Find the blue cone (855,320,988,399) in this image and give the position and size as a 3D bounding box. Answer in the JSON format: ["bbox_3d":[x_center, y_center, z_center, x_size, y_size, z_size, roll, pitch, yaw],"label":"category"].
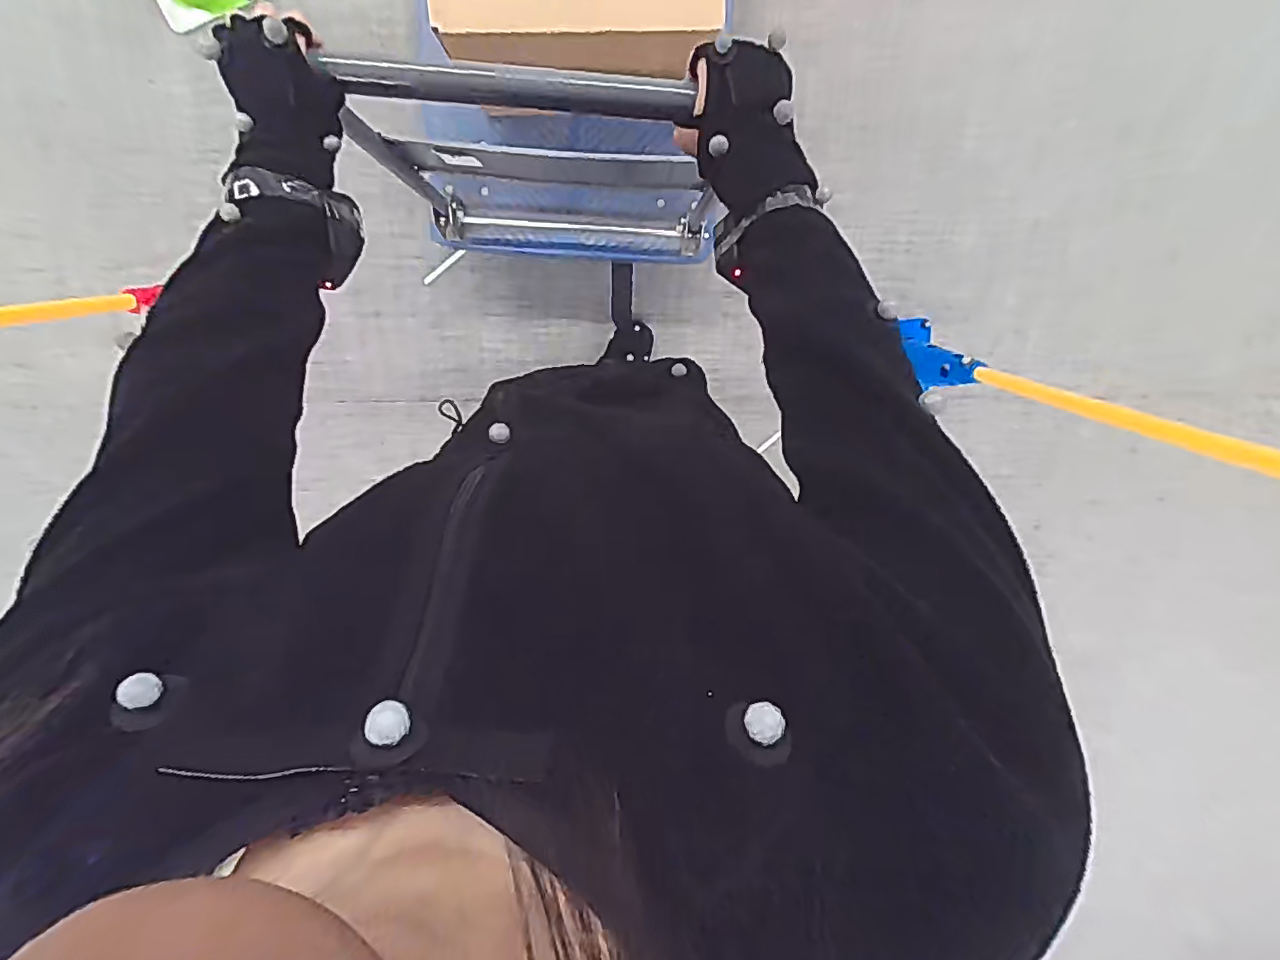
[{"bbox_3d":[0.645,-0.262,1.215,0.193,0.380,0.192,-4,105,-1],"label":"blue cone"}]
